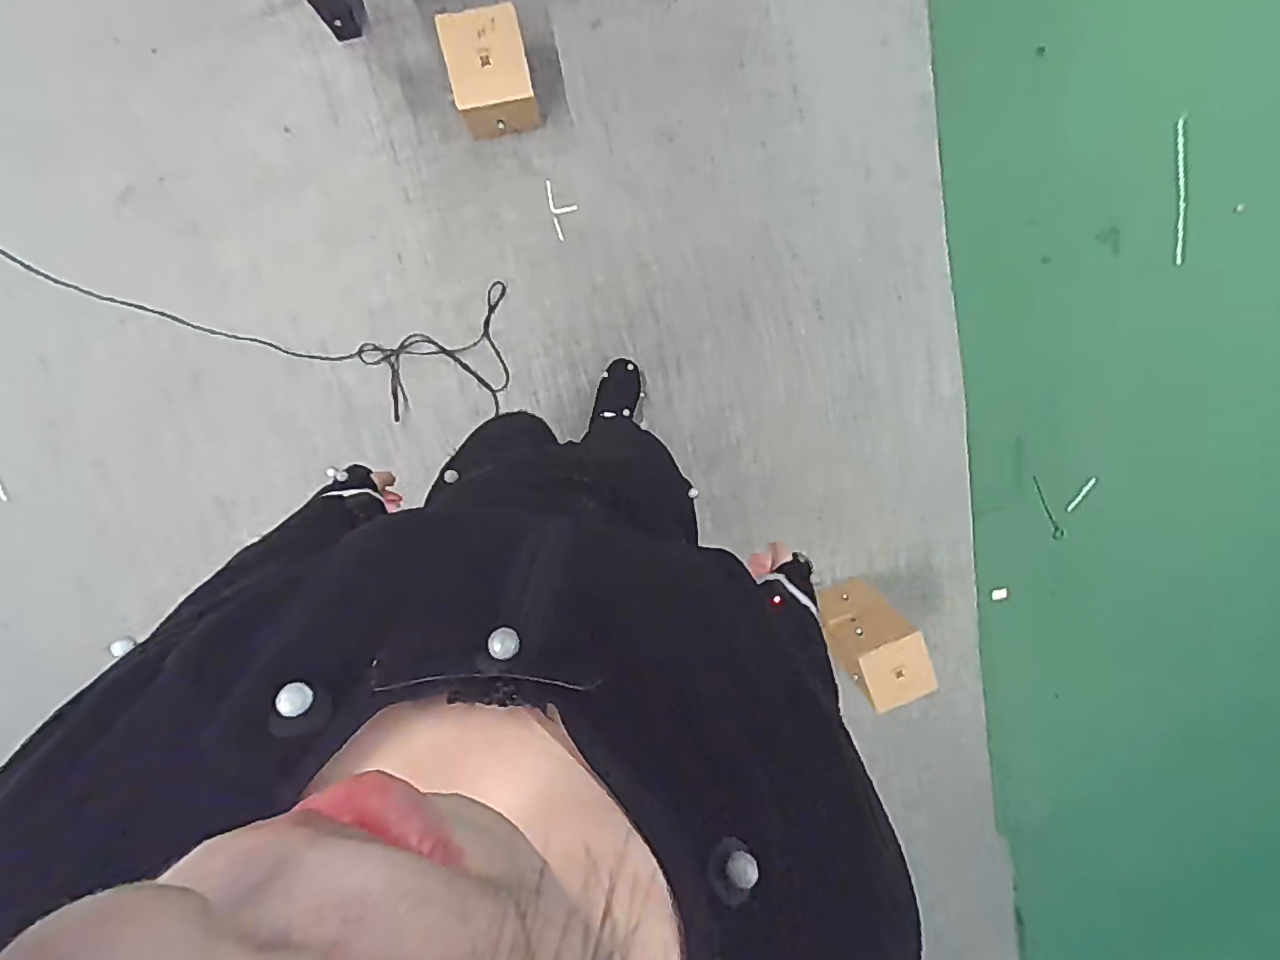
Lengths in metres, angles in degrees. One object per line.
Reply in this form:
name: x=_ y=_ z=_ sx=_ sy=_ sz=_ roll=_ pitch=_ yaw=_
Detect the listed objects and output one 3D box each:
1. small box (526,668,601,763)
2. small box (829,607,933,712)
small box: x=-0.214 y=0.663 z=1.542 sx=0.179 sy=0.176 sz=0.168 roll=-13 pitch=103 yaw=-1
small box: x=0.612 y=0.449 z=1.391 sx=0.168 sy=0.176 sz=0.179 roll=-22 pitch=104 yaw=1
